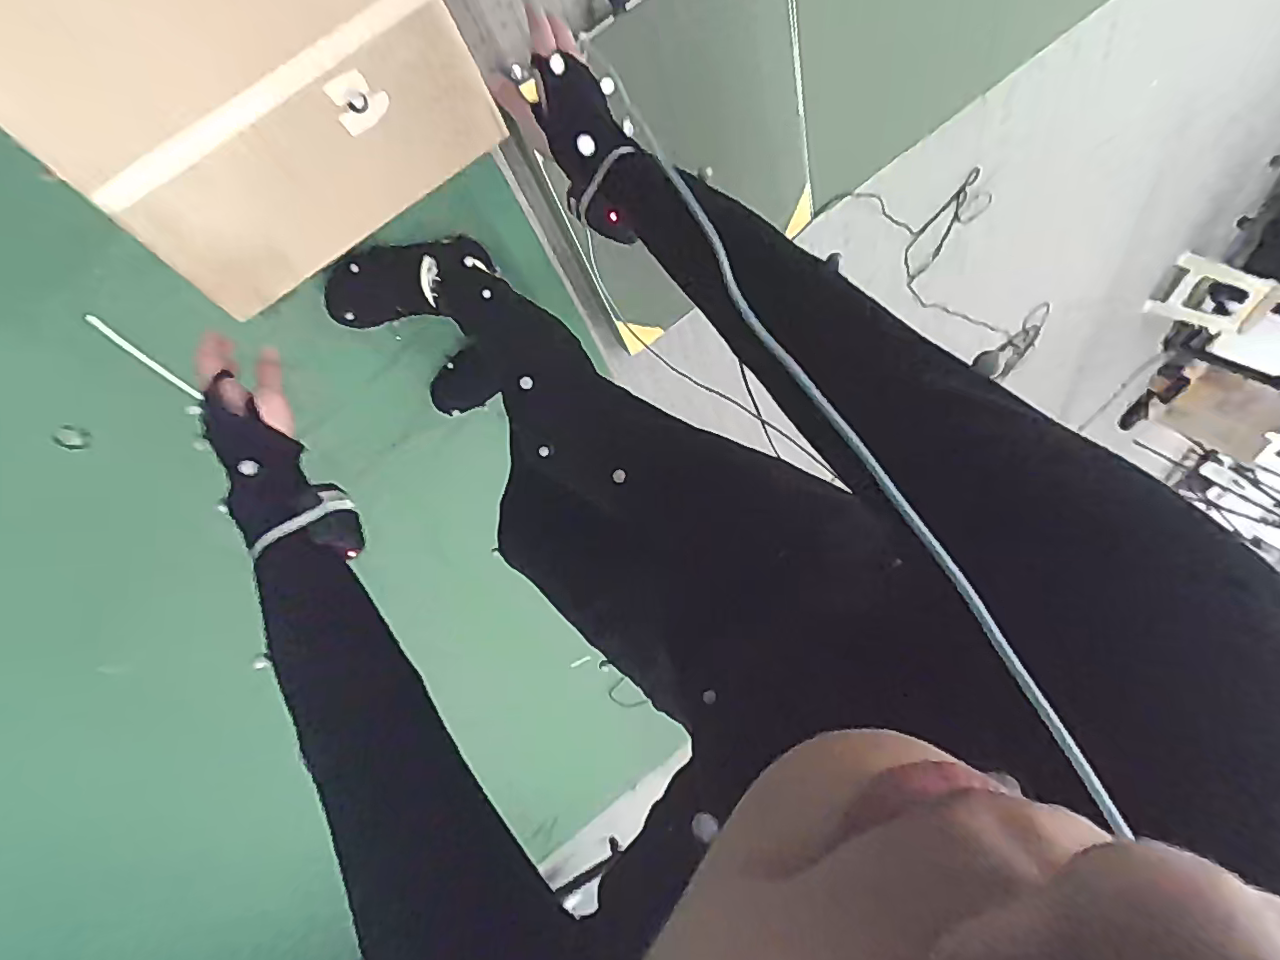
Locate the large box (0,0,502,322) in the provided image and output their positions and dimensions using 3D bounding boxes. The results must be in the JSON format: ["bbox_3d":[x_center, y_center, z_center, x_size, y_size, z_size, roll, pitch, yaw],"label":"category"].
[{"bbox_3d":[-0.456,-0.477,0.650,0.408,0.320,0.320,-39,141,-5],"label":"large box"}]
